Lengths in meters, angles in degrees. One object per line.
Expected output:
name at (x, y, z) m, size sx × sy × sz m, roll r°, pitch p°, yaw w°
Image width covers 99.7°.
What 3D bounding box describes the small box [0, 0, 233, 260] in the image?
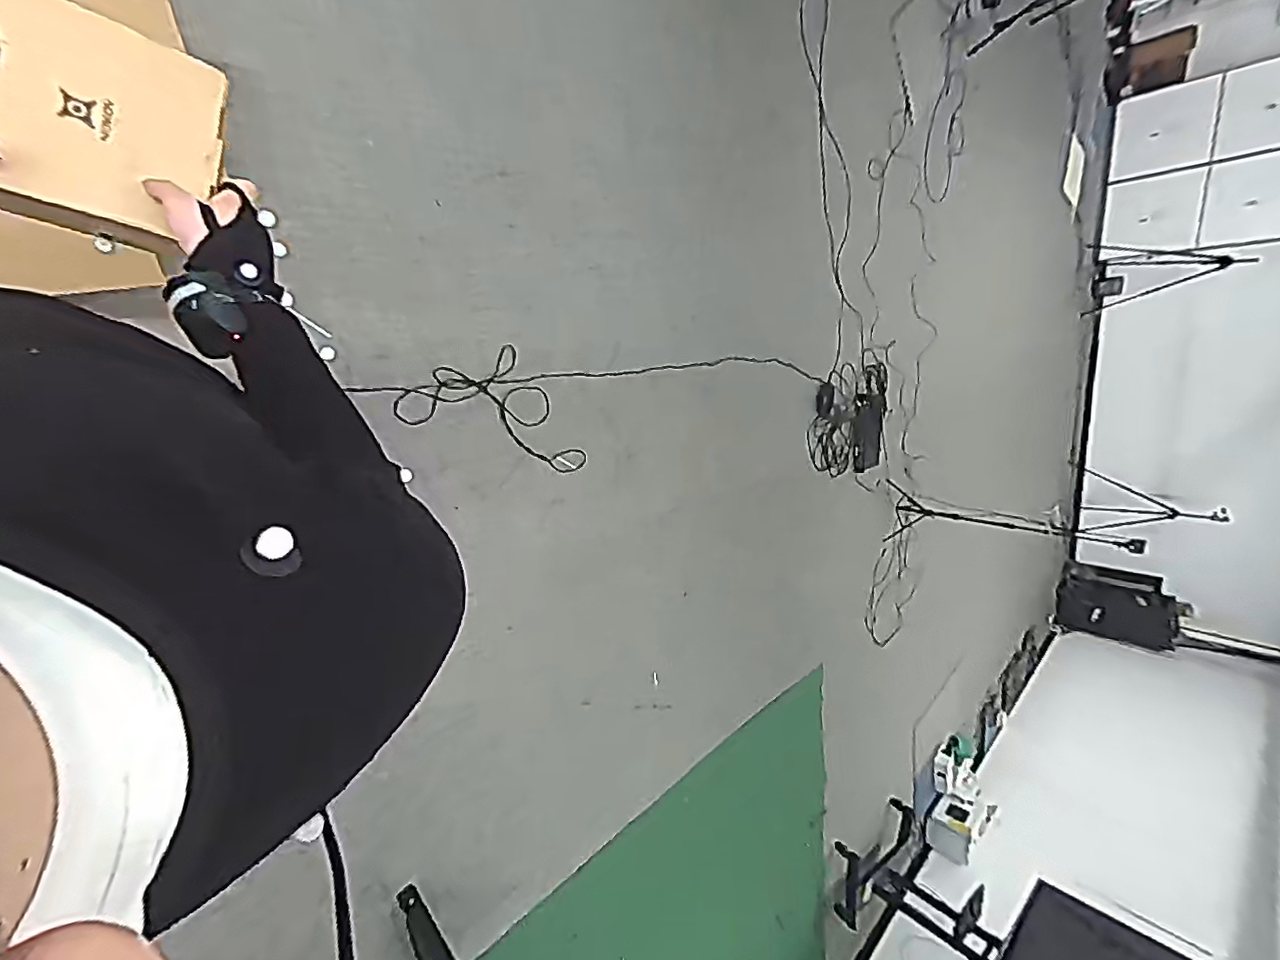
small box at (-0.528, -0.331, 0.535) m, size 0.179 × 0.176 × 0.168 m, roll 9°, pitch 95°, yaw -40°
